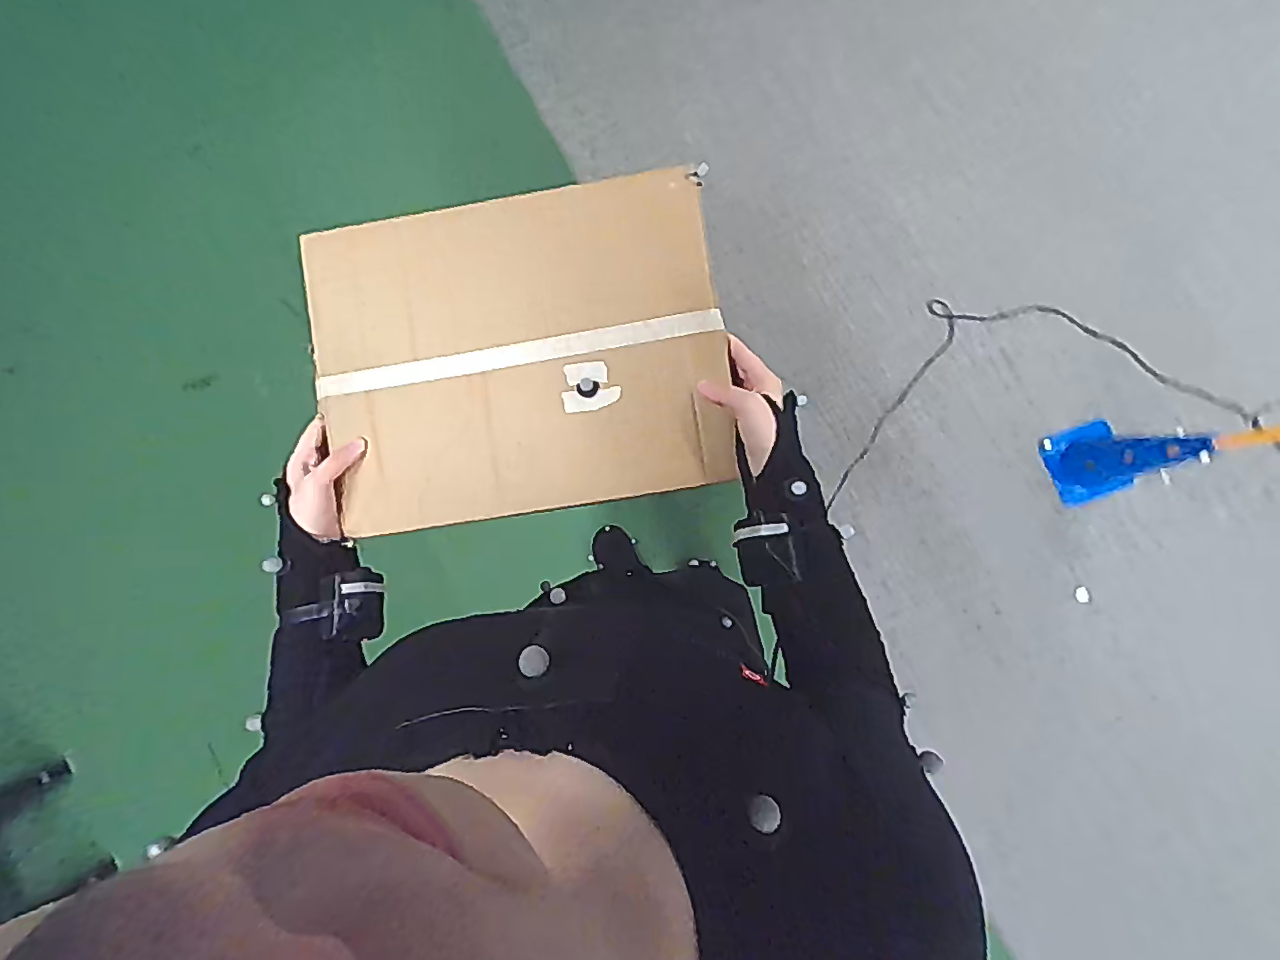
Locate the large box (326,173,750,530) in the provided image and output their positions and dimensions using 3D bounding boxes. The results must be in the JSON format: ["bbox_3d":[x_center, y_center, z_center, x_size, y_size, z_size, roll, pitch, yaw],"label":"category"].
[{"bbox_3d":[-0.103,-0.124,0.690,0.408,0.320,0.320,-8,89,2],"label":"large box"}]

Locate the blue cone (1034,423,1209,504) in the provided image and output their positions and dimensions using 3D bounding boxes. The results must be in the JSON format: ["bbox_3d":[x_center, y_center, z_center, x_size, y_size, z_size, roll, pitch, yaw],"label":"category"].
[{"bbox_3d":[1.191,-0.062,1.314,0.192,0.380,0.193,-20,84,1],"label":"blue cone"}]
